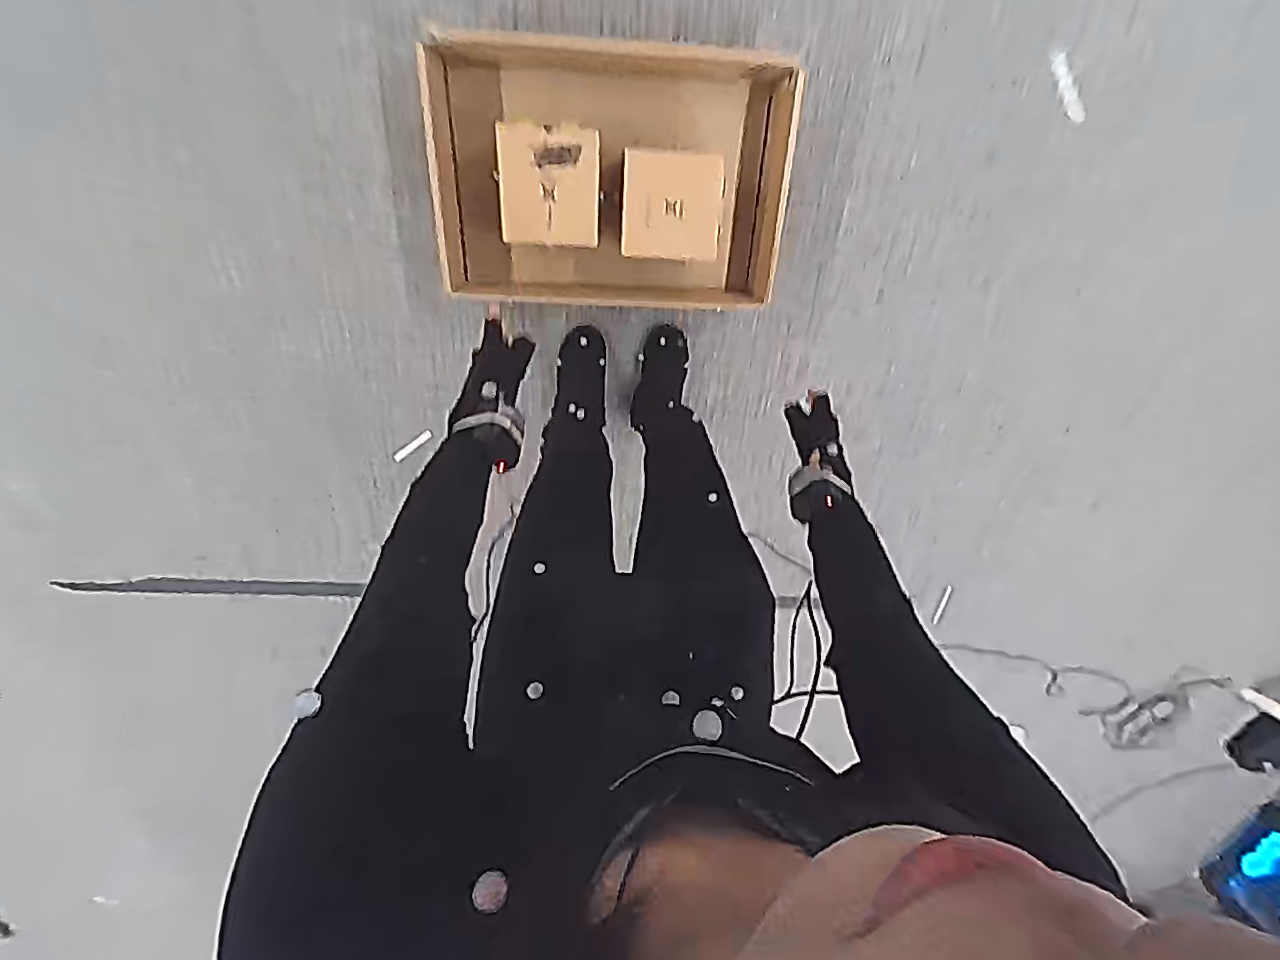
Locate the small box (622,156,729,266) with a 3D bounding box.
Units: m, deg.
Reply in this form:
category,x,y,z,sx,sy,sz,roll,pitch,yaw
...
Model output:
category,x,y,z,sx,sy,sz,roll,pitch,yaw
small box,0.057,-0.502,1.014,0.179,0.176,0.168,2,116,-3
